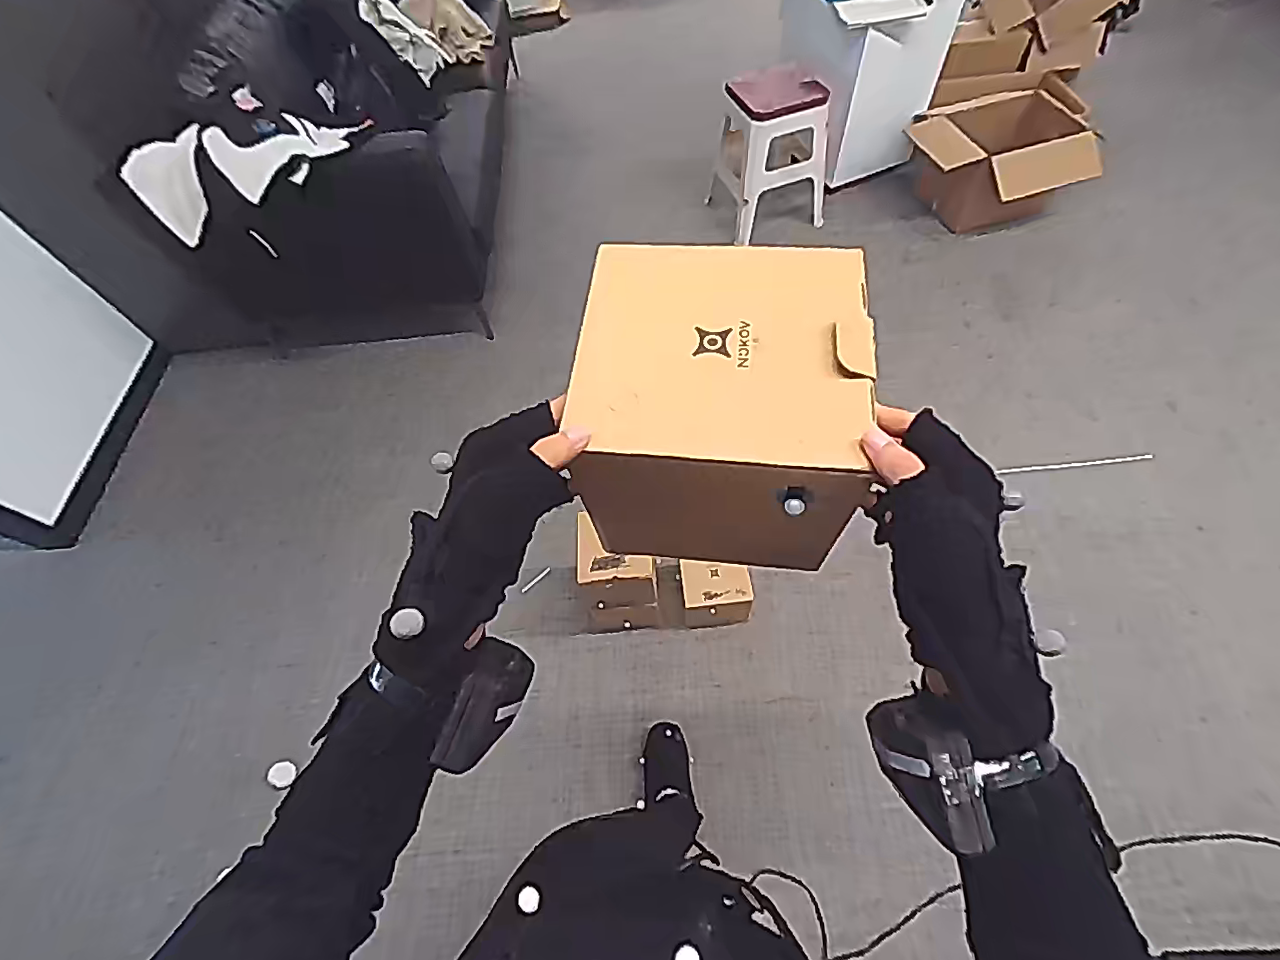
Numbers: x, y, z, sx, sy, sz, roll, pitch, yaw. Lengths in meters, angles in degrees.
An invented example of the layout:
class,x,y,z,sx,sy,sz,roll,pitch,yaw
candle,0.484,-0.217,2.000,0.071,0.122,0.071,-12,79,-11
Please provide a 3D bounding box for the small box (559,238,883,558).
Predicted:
class,x,y,z,sx,sy,sz,roll,pitch,yaw
small box,0.056,-0.050,0.395,0.179,0.176,0.168,4,64,7

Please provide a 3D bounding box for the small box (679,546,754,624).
class,x,y,z,sx,sy,sz,roll,pitch,yaw
small box,0.189,0.255,1.386,0.168,0.176,0.179,-7,58,2
